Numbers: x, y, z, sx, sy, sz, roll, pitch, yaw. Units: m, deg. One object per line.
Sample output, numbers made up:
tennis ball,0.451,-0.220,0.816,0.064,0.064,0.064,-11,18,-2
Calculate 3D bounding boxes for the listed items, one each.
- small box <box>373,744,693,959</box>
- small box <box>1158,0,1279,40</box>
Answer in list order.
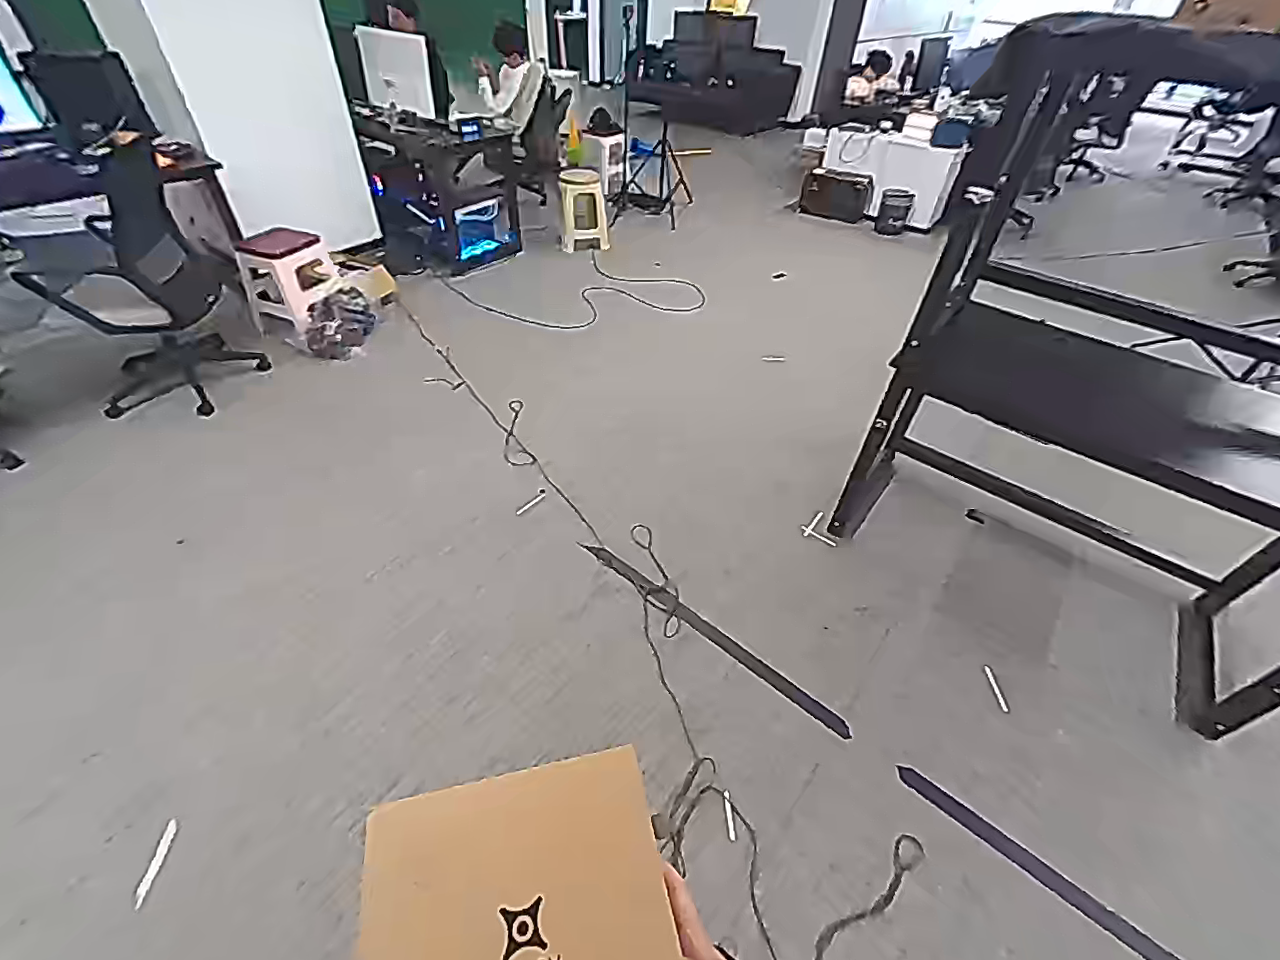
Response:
small box,-0.064,0.302,0.346,0.168,0.176,0.179,-7,49,-13
small box,1.043,-0.869,0.928,0.168,0.176,0.179,29,46,23
